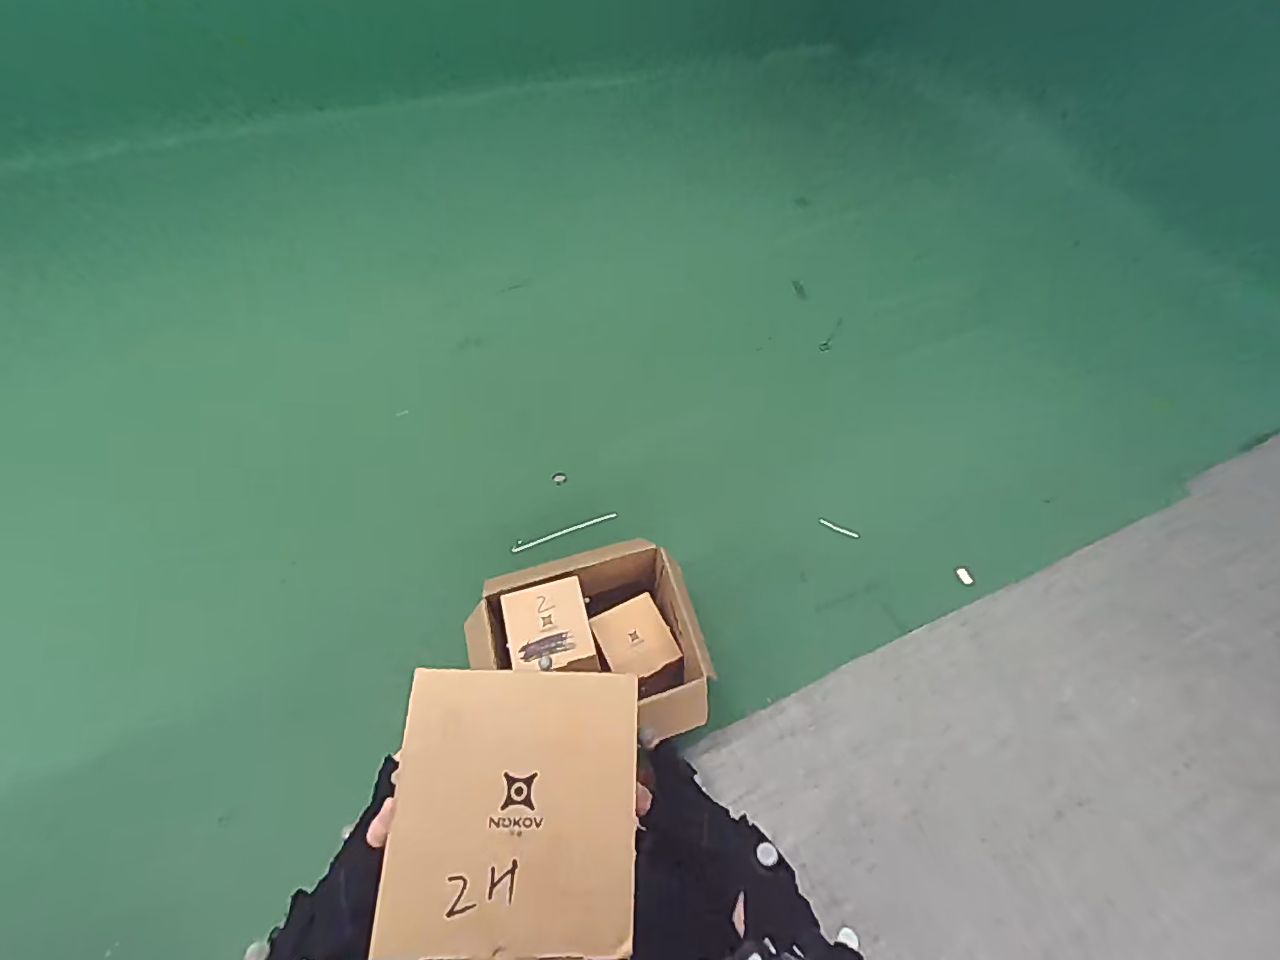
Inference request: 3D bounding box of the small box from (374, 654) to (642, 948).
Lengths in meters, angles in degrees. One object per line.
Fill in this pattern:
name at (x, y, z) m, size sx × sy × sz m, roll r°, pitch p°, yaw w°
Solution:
small box at (-0.090, 0.245, 0.447) m, size 0.168 × 0.176 × 0.179 m, roll 3°, pitch 68°, yaw -4°
